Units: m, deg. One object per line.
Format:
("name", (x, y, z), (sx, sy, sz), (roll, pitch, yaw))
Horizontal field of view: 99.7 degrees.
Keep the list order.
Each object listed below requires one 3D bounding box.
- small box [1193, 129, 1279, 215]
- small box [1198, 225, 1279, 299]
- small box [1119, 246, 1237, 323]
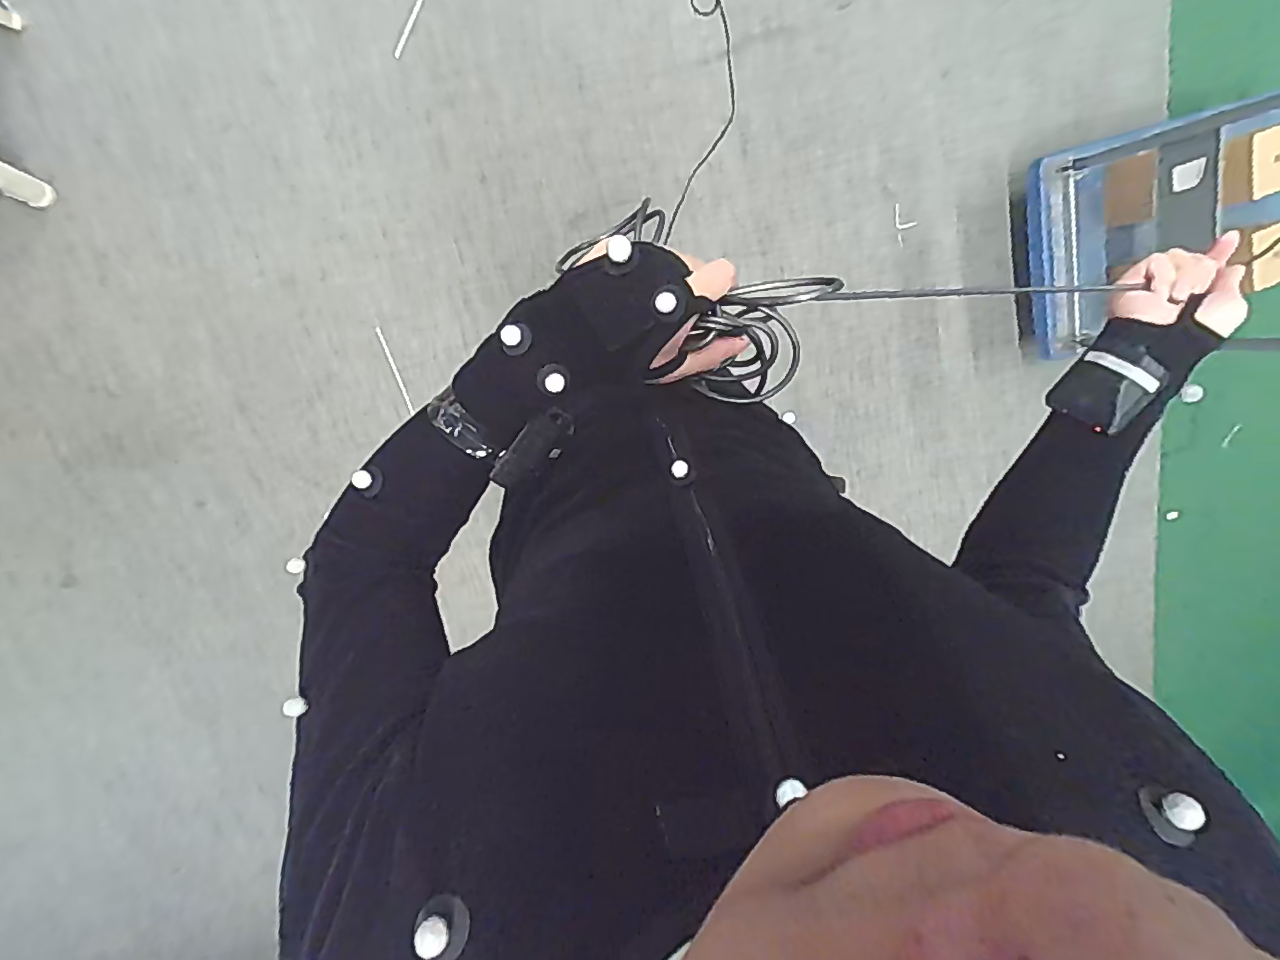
("small box", (1.698, -0.860, 1.502), (0.179, 0.176, 0.168), (-22, 107, -5))
("small box", (1.782, -0.634, 1.572), (0.179, 0.176, 0.168), (-21, 105, -5))
("small box", (1.527, -0.551, 1.542), (0.179, 0.176, 0.168), (-17, 106, -6))
